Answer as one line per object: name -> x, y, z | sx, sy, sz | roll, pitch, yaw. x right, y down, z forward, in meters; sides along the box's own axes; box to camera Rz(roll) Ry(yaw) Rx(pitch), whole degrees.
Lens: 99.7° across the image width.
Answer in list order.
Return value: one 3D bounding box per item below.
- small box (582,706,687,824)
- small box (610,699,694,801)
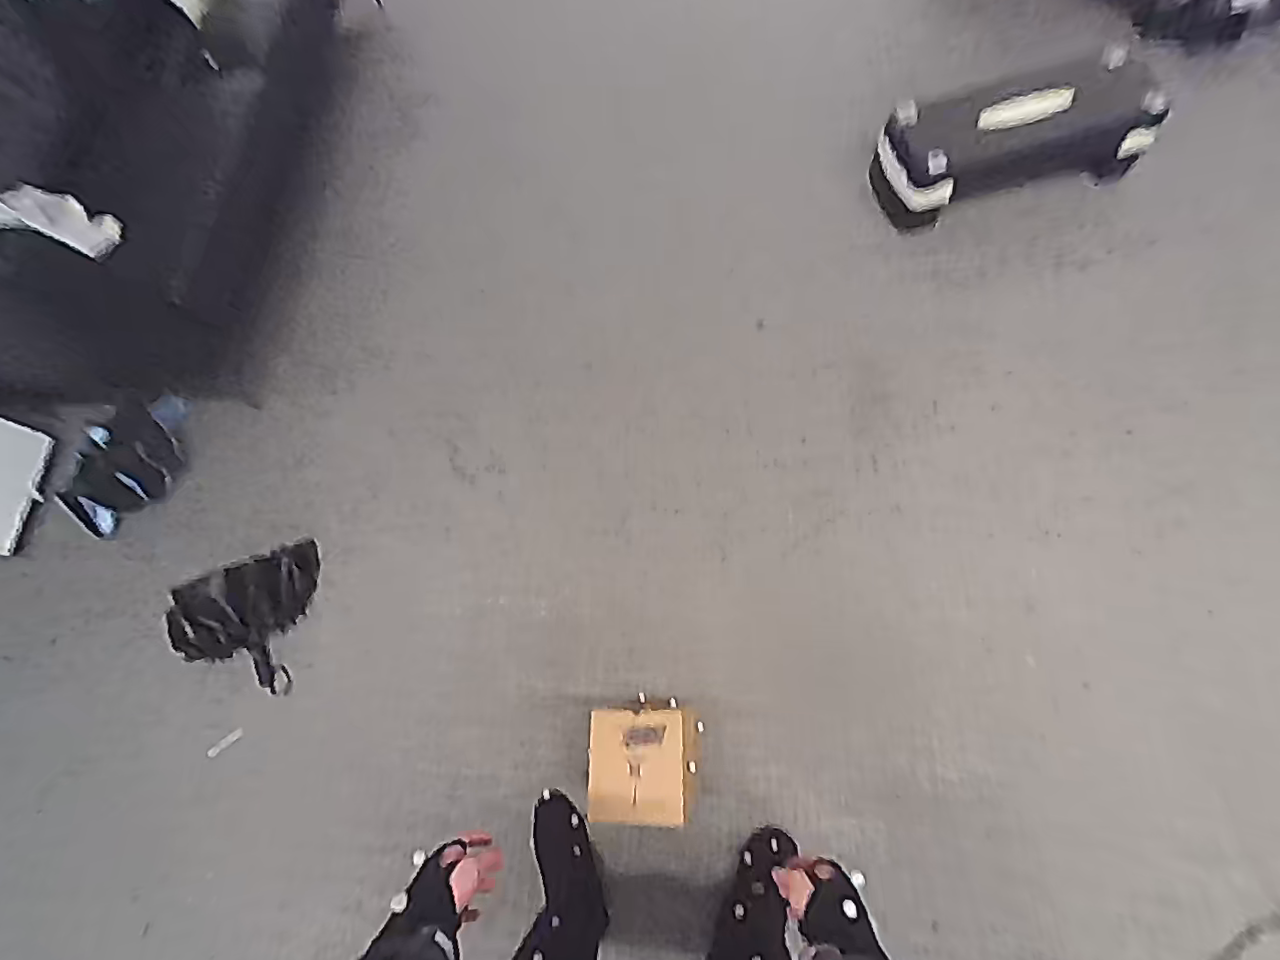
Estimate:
small box -> -0.003, 0.519, 1.008 | 0.168, 0.176, 0.179 | -3, 69, 10
small box -> 0.027, 0.569, 1.161 | 0.168, 0.176, 0.179 | -2, 70, 10
